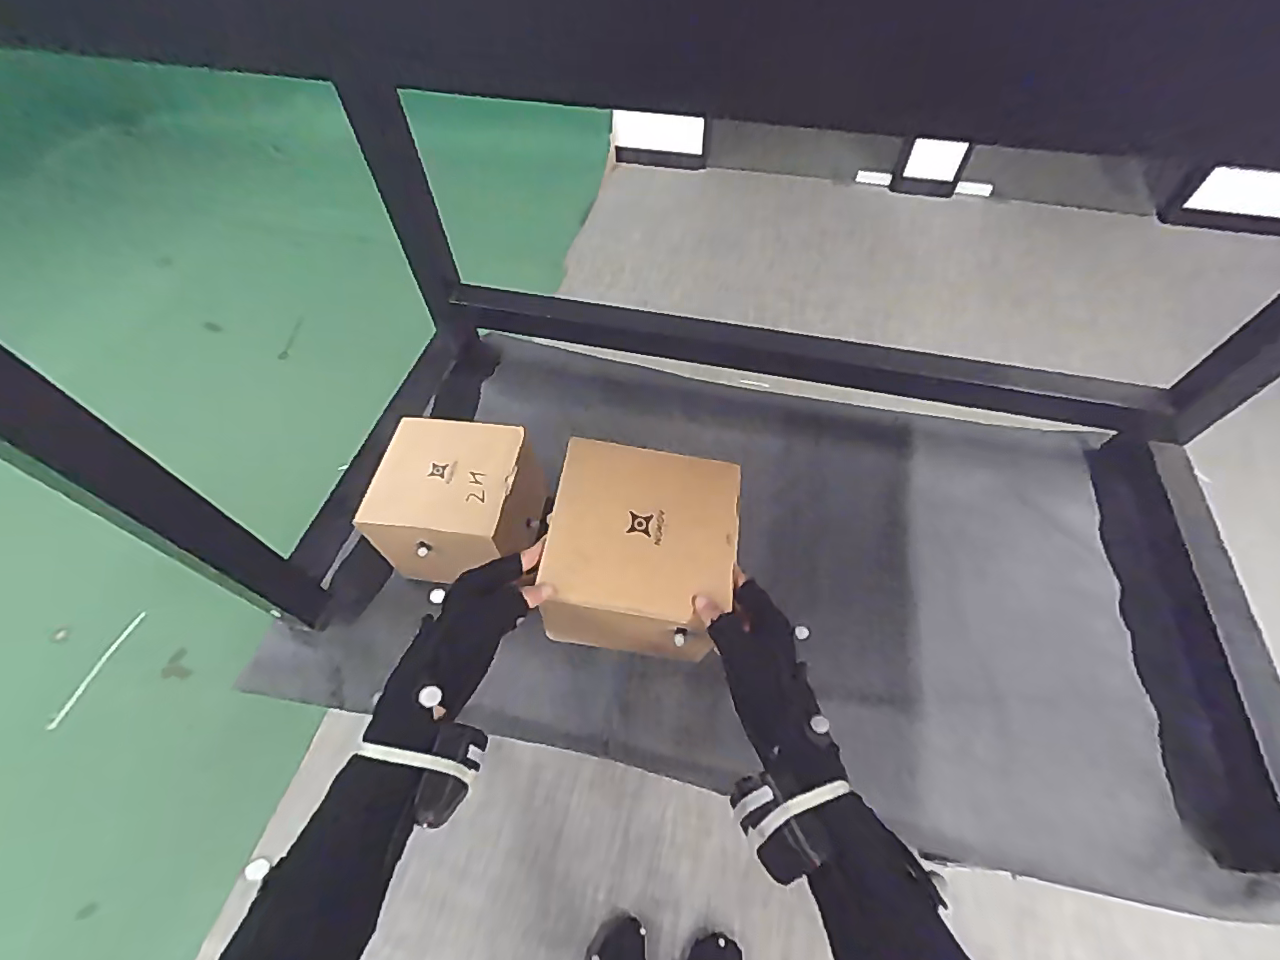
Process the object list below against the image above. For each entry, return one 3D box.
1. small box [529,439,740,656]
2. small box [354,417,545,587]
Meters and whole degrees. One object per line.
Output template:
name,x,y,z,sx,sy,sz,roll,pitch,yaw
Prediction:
small box,-0.004,0.080,0.570,0.179,0.176,0.168,10,63,0
small box,-0.243,0.035,0.742,0.179,0.176,0.168,6,58,5
